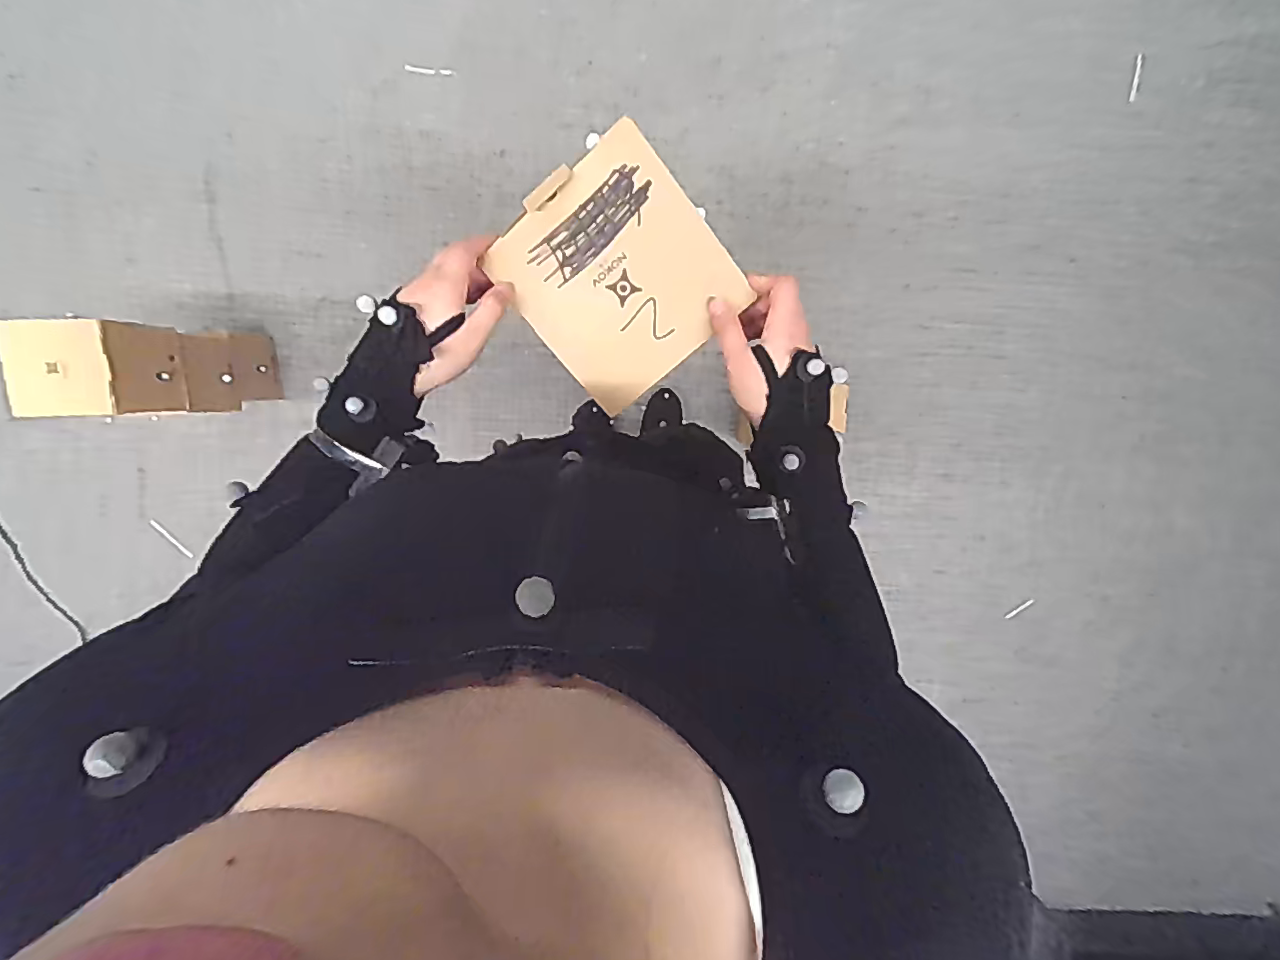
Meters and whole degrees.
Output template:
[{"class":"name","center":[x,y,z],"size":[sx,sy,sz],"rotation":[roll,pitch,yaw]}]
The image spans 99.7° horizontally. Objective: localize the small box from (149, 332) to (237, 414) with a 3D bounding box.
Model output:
[{"class":"small box","center":[-1.023,-0.228,1.166],"size":[0.179,0.176,0.168],"rotation":[-1,100,-2]}]

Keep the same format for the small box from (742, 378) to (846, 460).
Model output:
[{"class":"small box","center":[0.341,-0.141,1.227],"size":[0.179,0.176,0.168],"rotation":[4,98,-2]}]

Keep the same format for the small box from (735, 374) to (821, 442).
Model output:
[{"class":"small box","center":[0.346,-0.174,1.387],"size":[0.168,0.176,0.179],"rotation":[4,99,-2]}]

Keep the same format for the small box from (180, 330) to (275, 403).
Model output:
[{"class":"small box","center":[-1.032,-0.273,1.324],"size":[0.179,0.176,0.168],"rotation":[-4,99,-1]}]

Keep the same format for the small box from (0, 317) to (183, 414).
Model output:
[{"class":"small box","center":[-1.013,-0.207,1.005],"size":[0.179,0.176,0.168],"rotation":[-2,100,-2]}]
